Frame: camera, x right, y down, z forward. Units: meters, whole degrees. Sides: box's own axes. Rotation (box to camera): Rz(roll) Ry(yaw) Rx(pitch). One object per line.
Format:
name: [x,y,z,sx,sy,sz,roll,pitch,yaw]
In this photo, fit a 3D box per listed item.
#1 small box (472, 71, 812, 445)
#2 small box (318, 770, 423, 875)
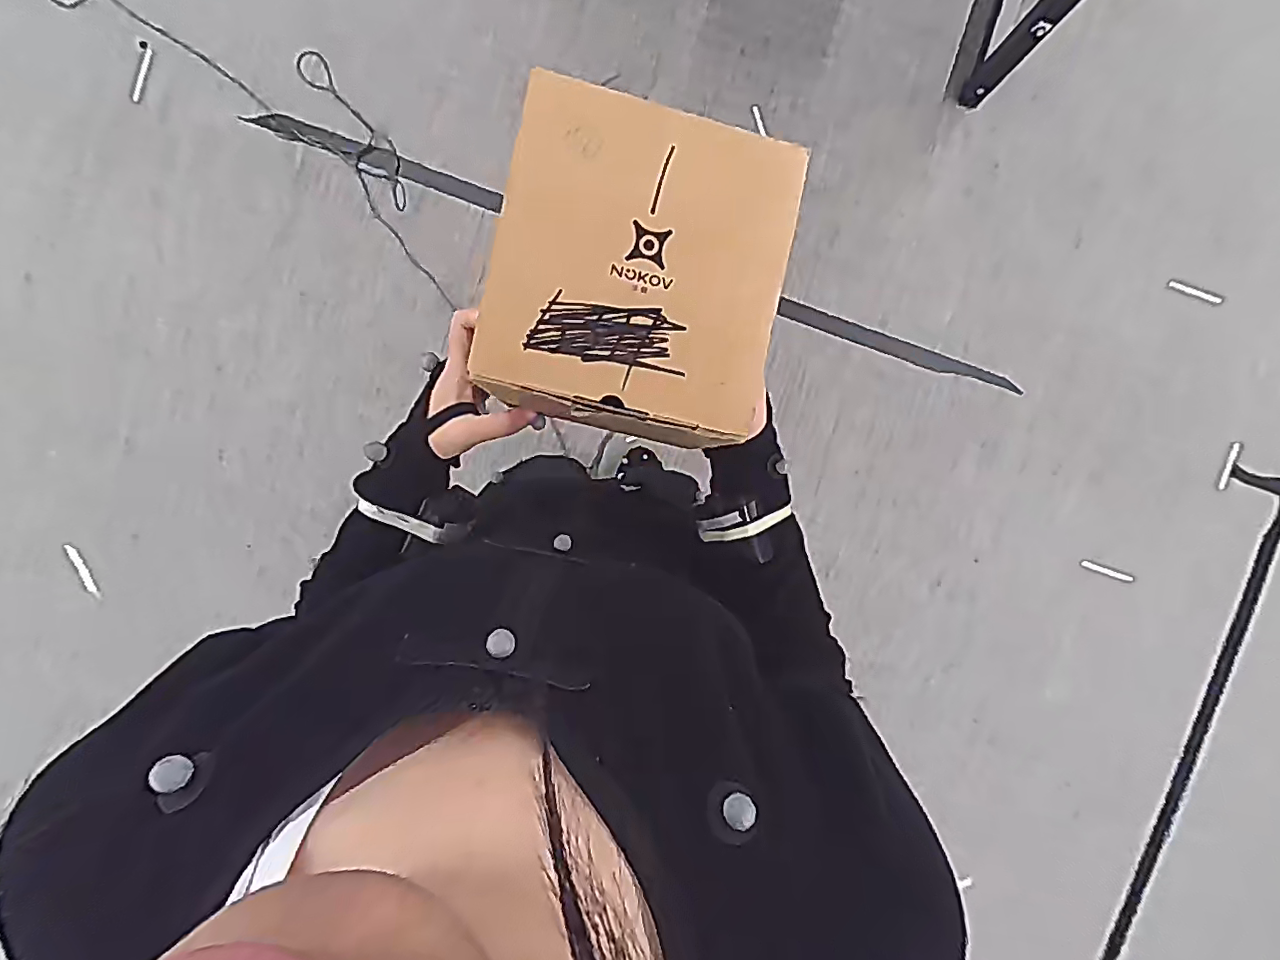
small box: [-0.005,-0.127,0.386,0.168,0.176,0.179,13,89,-7]
small box: [-0.706,0.889,1.431,0.179,0.176,0.168,13,94,-1]
